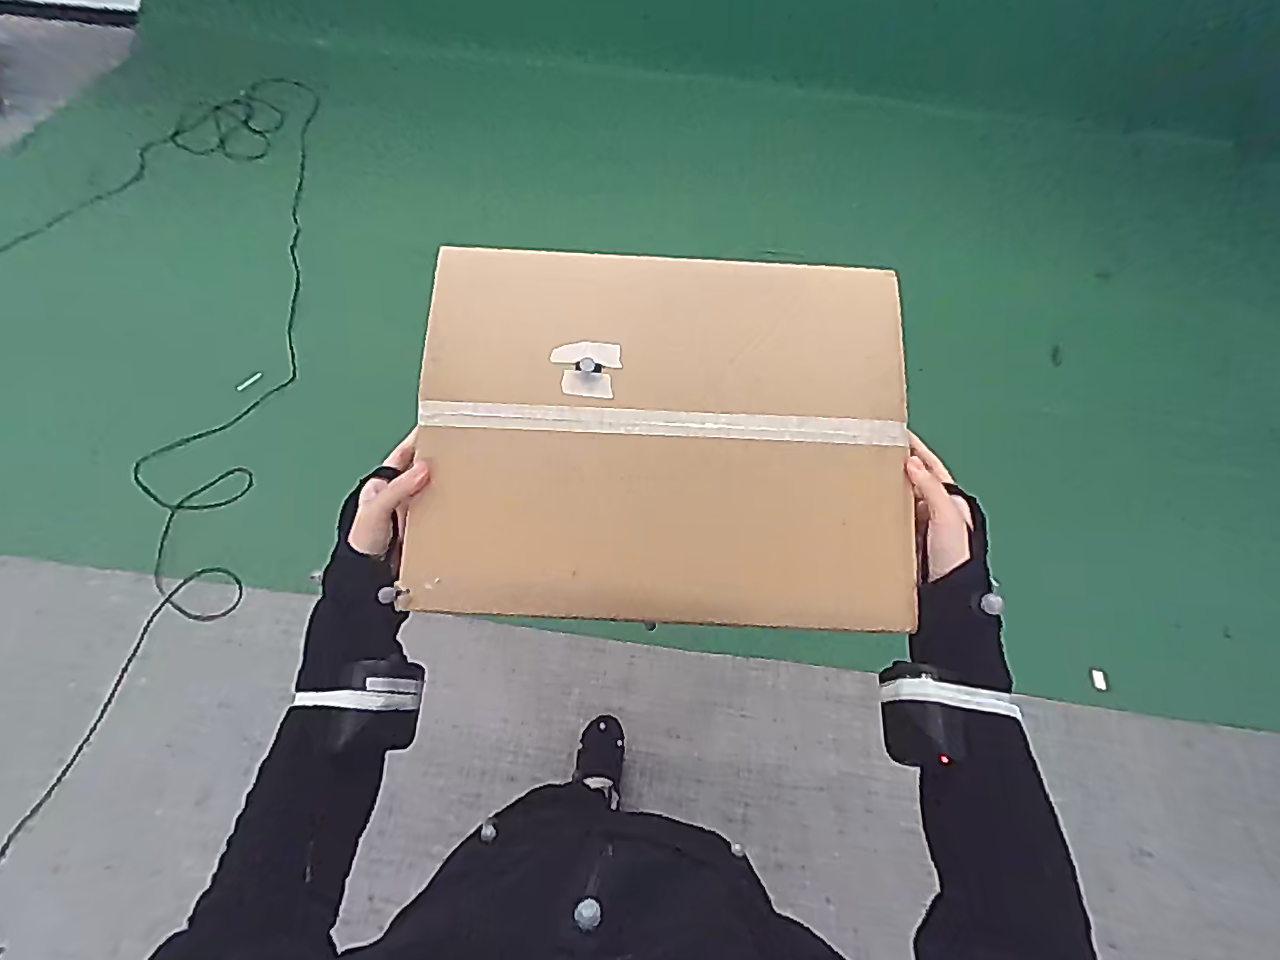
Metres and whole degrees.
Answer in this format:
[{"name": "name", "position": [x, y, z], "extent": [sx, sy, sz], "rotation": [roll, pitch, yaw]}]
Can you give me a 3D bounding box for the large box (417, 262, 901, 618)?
[{"name": "large box", "position": [0.021, -0.019, 0.613], "extent": [0.408, 0.320, 0.320], "rotation": [2, 79, 1]}]
